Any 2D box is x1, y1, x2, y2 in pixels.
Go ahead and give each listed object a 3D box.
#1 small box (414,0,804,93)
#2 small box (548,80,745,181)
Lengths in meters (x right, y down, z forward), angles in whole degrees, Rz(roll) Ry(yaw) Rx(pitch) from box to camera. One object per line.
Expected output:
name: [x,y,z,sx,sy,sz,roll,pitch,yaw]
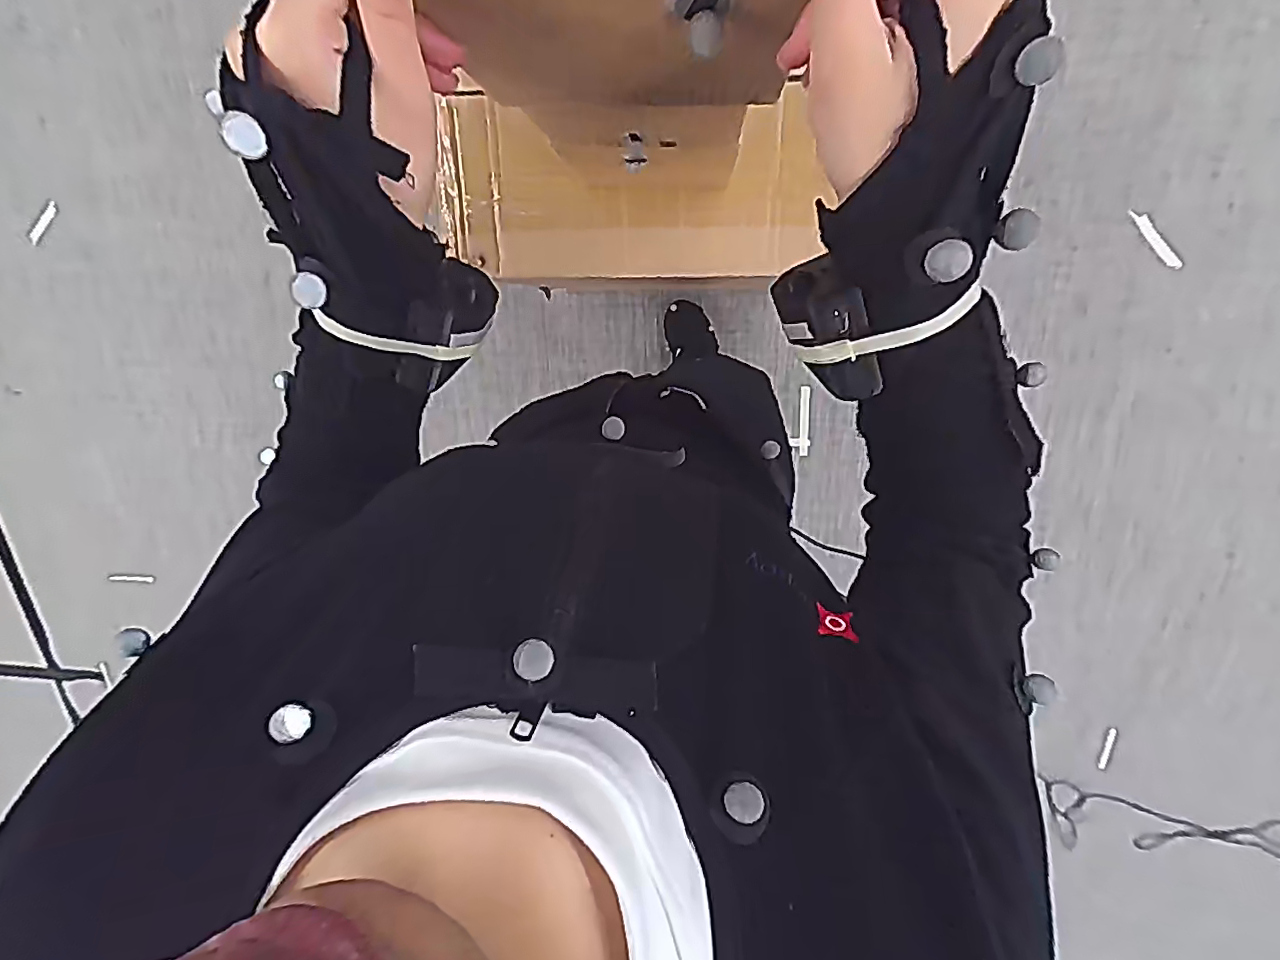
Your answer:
small box: [-0.008,-0.288,0.228,0.179,0.176,0.168,3,108,5]
small box: [0.014,-0.405,0.536,0.179,0.176,0.168,3,108,5]
